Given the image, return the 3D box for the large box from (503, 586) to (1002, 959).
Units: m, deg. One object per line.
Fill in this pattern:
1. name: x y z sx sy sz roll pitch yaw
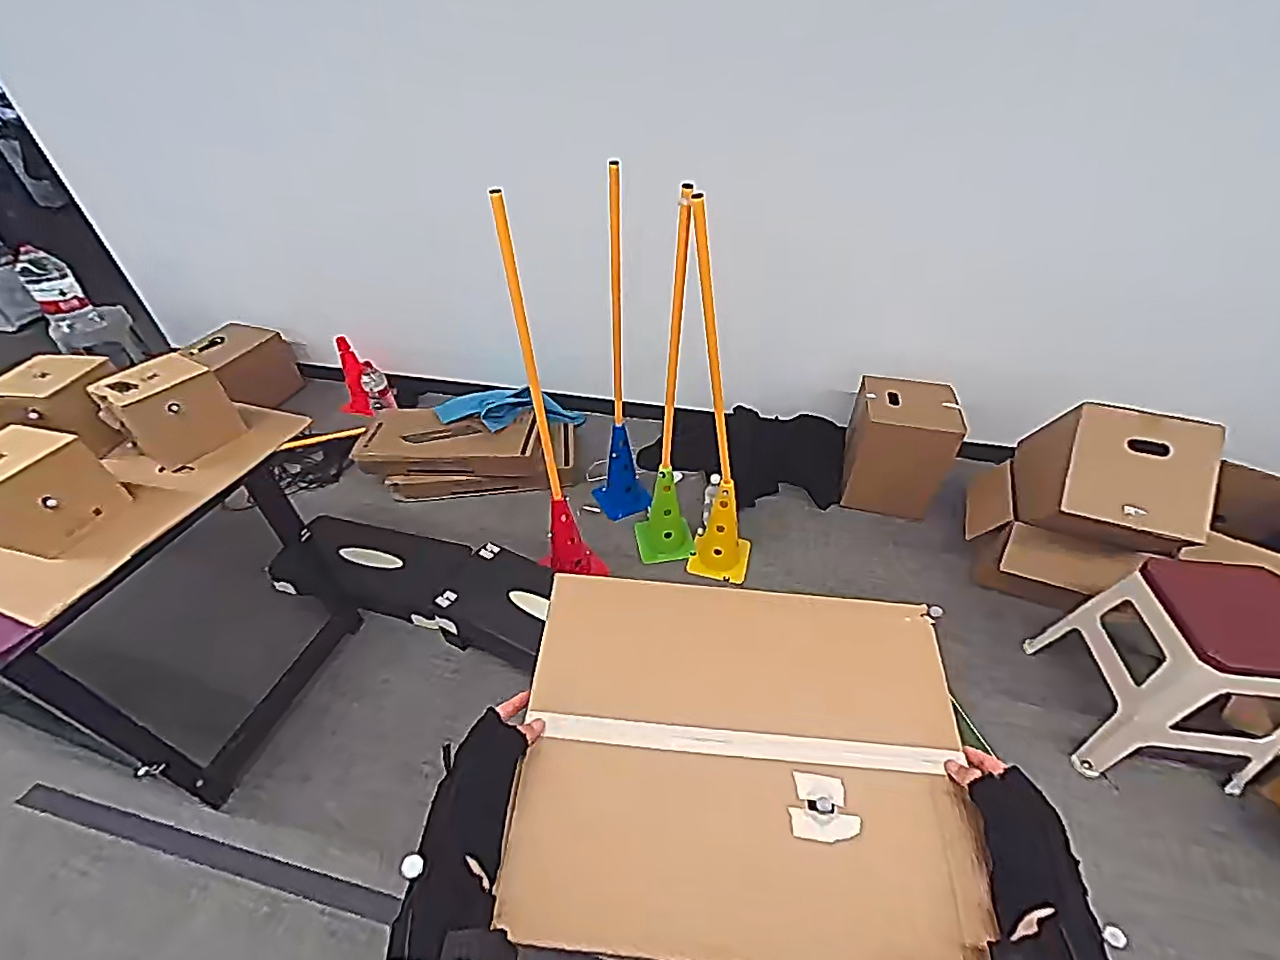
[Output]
1. large box: 0.094 0.344 0.630 0.408 0.320 0.320 5 53 3
